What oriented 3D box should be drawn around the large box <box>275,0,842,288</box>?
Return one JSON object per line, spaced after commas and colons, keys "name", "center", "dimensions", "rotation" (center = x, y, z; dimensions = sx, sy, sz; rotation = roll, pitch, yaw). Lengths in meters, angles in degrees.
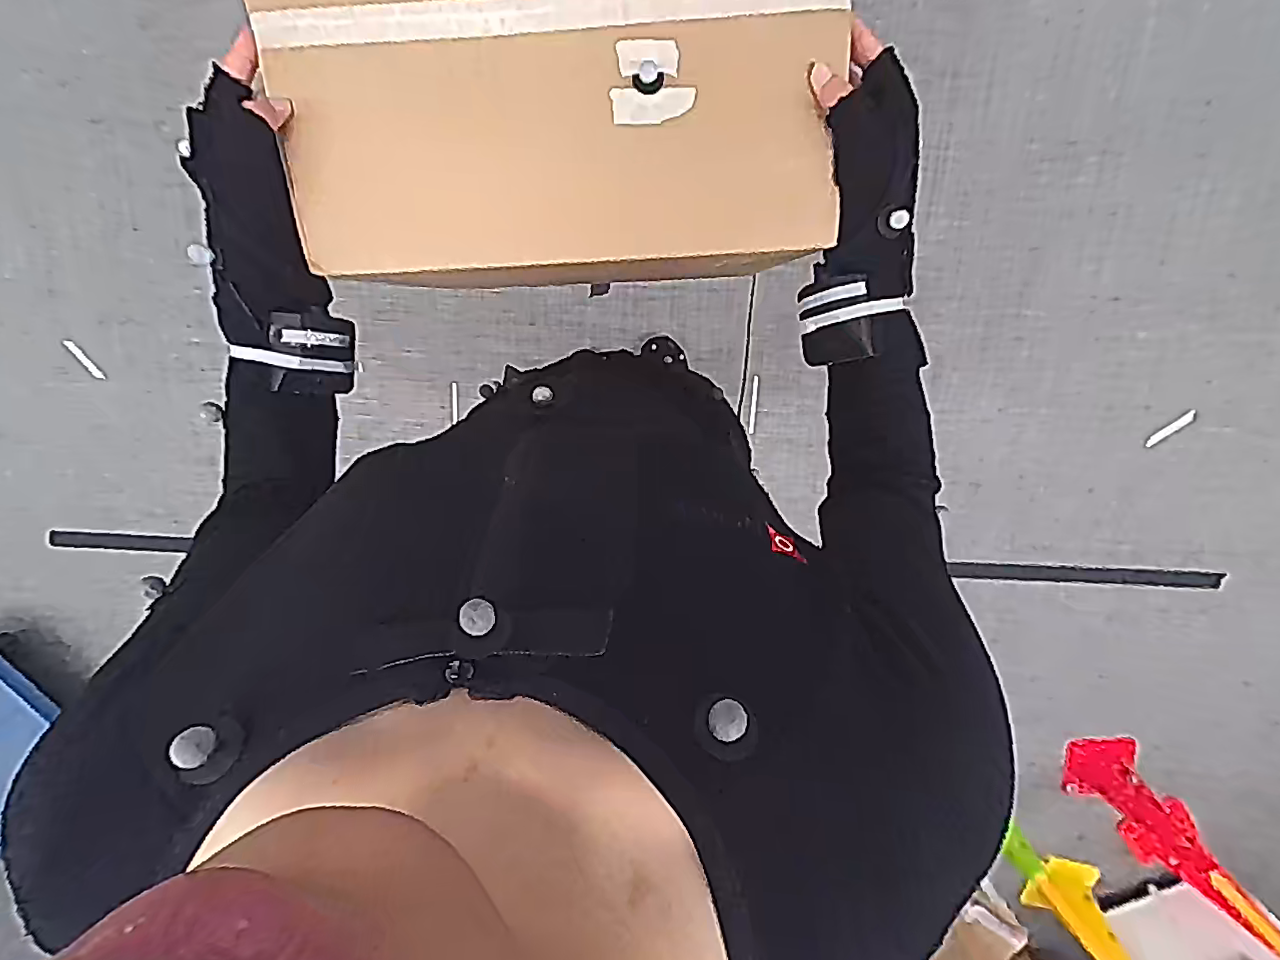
{"name": "large box", "center": [-0.058, -0.368, 0.521], "dimensions": [0.408, 0.320, 0.320], "rotation": [-3, 107, 1]}
